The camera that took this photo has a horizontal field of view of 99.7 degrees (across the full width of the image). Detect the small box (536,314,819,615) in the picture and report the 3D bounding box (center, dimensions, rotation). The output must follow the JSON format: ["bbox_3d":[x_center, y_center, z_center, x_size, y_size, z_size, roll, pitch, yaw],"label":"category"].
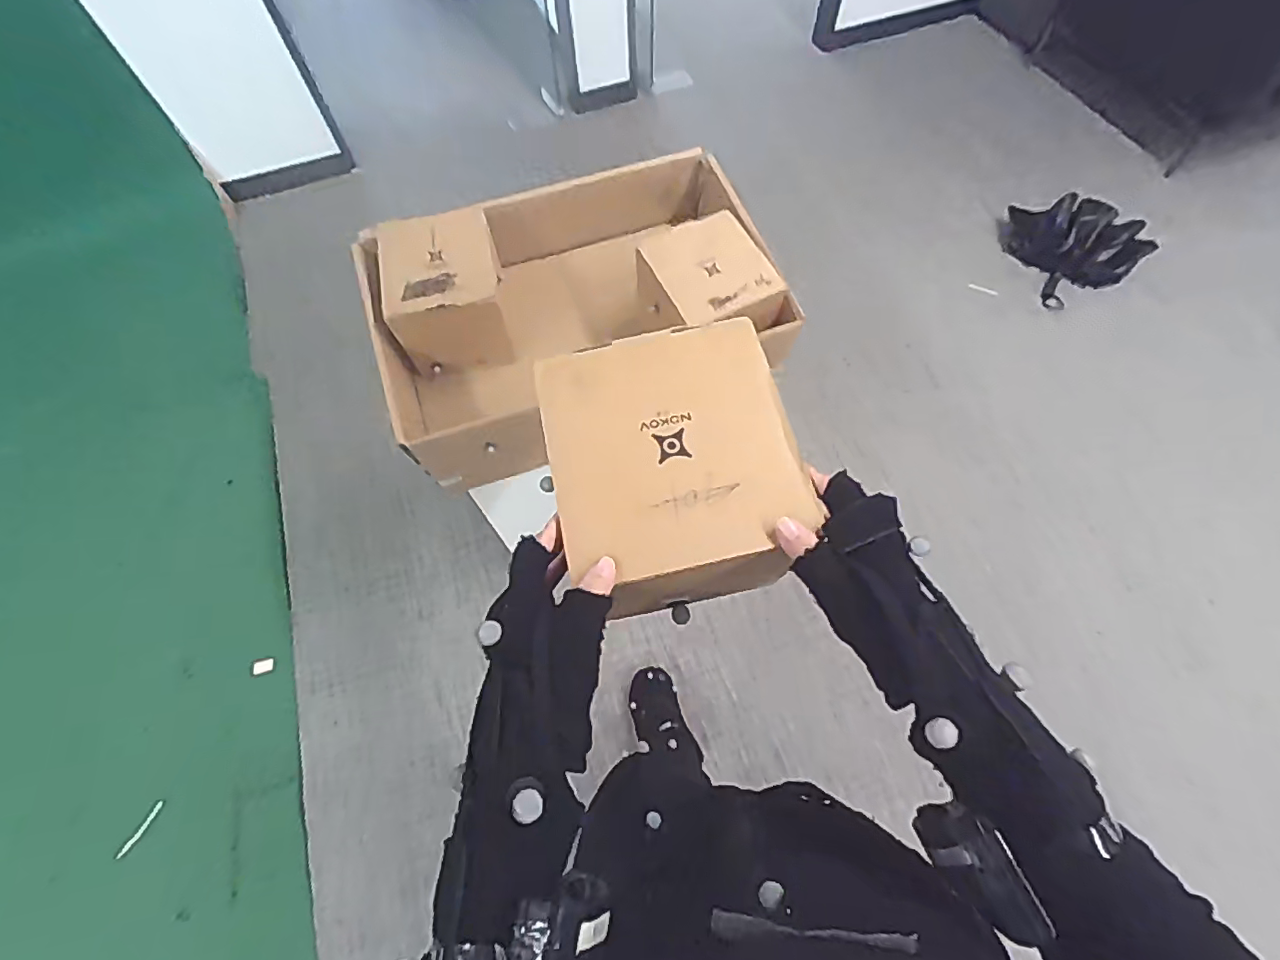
[{"bbox_3d":[0.020,-0.002,0.445,0.168,0.176,0.179,-12,68,-3],"label":"small box"}]
